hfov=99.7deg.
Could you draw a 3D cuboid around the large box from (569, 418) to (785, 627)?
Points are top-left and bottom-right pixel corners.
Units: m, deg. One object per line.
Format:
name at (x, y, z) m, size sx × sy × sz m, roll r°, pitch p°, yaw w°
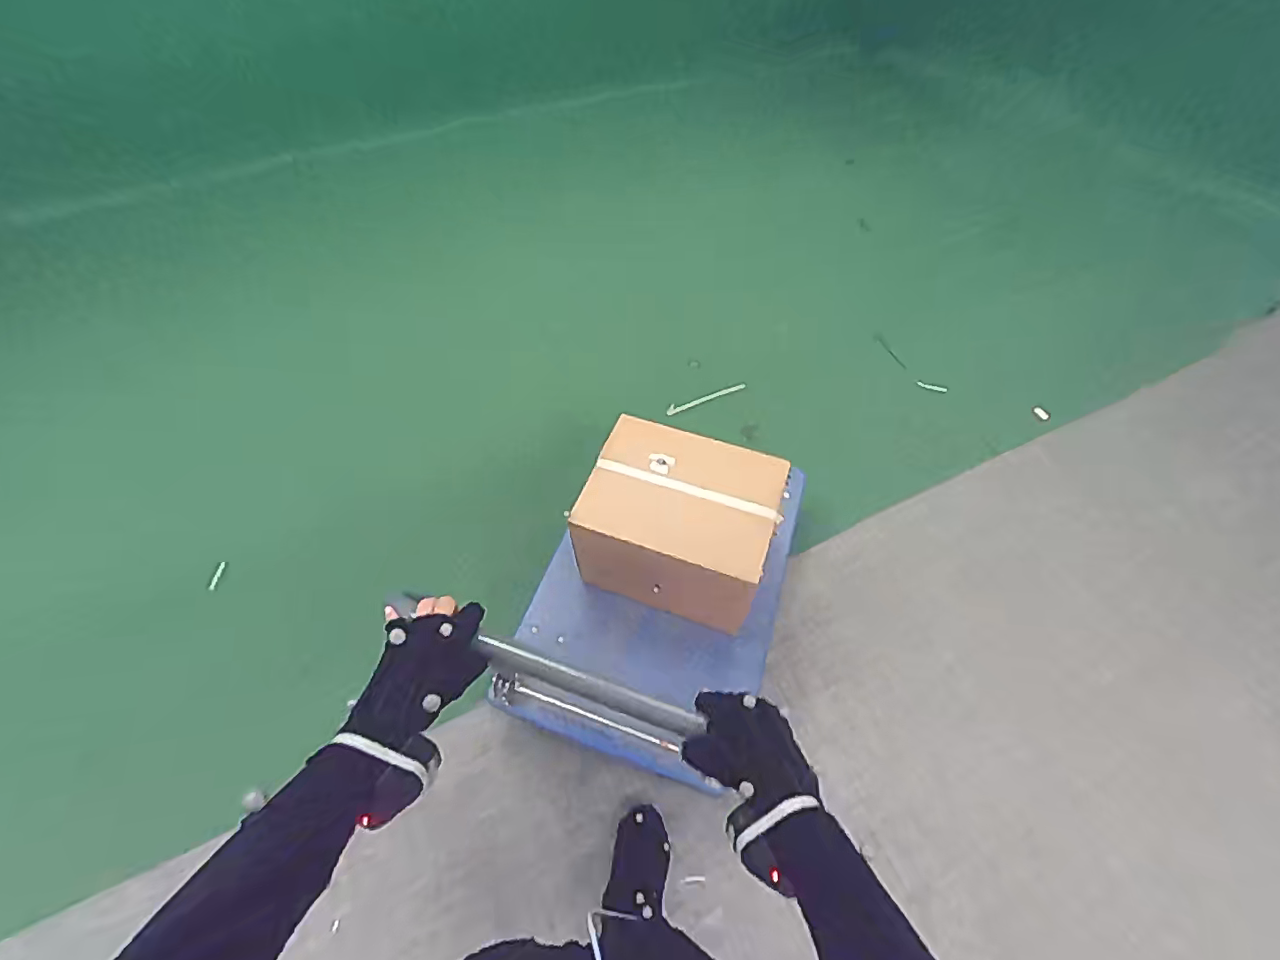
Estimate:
large box at (0.094, 0.105, 1.284) m, size 0.408 × 0.320 × 0.320 m, roll 16°, pitch 57°, yaw 13°
